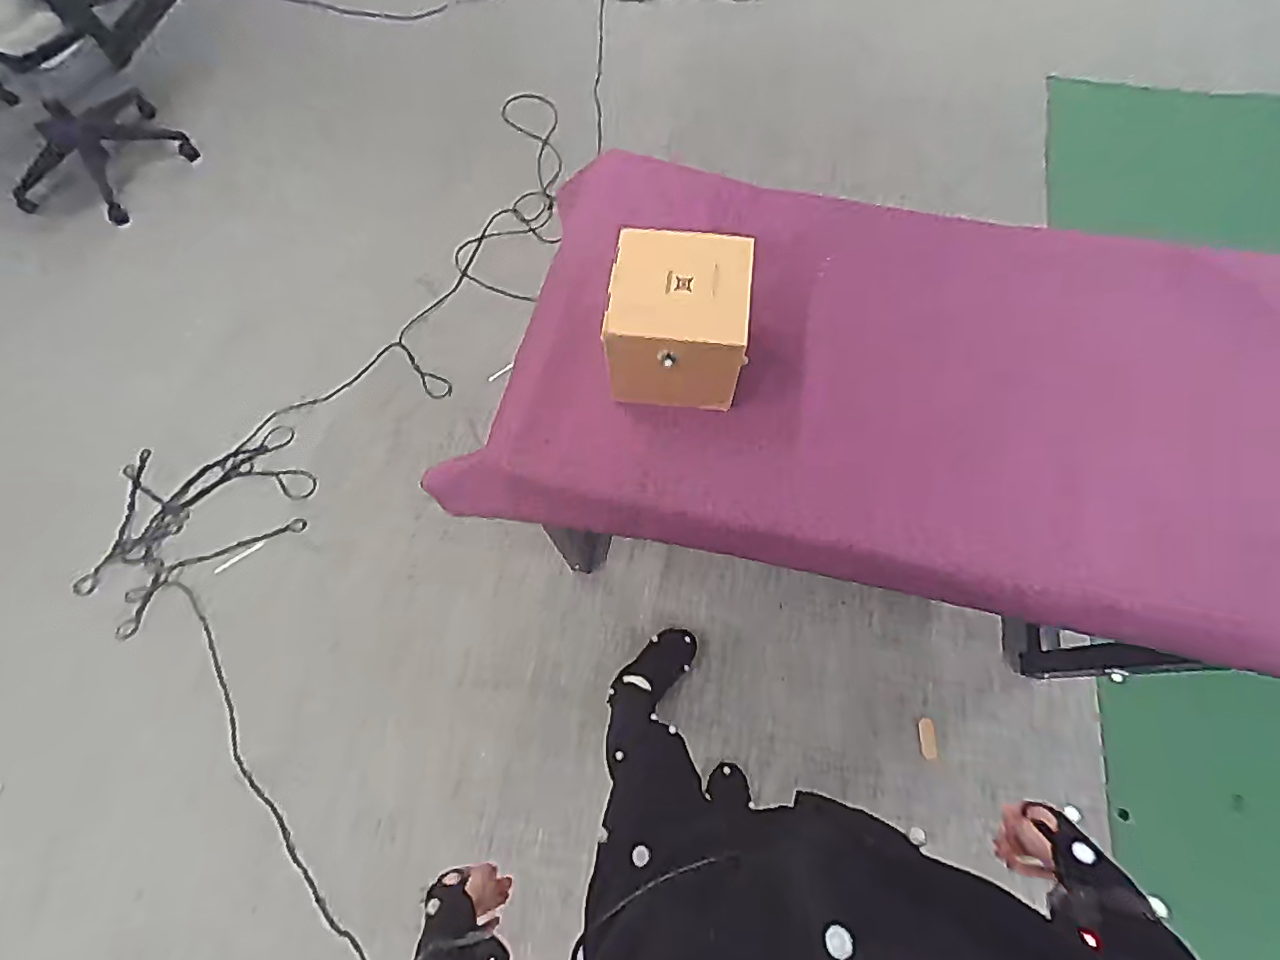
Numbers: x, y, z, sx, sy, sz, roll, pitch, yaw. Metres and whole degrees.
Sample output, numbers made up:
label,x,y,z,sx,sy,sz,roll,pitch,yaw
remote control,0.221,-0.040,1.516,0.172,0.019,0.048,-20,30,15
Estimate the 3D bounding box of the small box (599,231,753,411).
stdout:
label,x,y,z,sx,sy,sz,roll,pitch,yaw
small box,0.050,-0.209,0.739,0.179,0.176,0.168,7,69,4
